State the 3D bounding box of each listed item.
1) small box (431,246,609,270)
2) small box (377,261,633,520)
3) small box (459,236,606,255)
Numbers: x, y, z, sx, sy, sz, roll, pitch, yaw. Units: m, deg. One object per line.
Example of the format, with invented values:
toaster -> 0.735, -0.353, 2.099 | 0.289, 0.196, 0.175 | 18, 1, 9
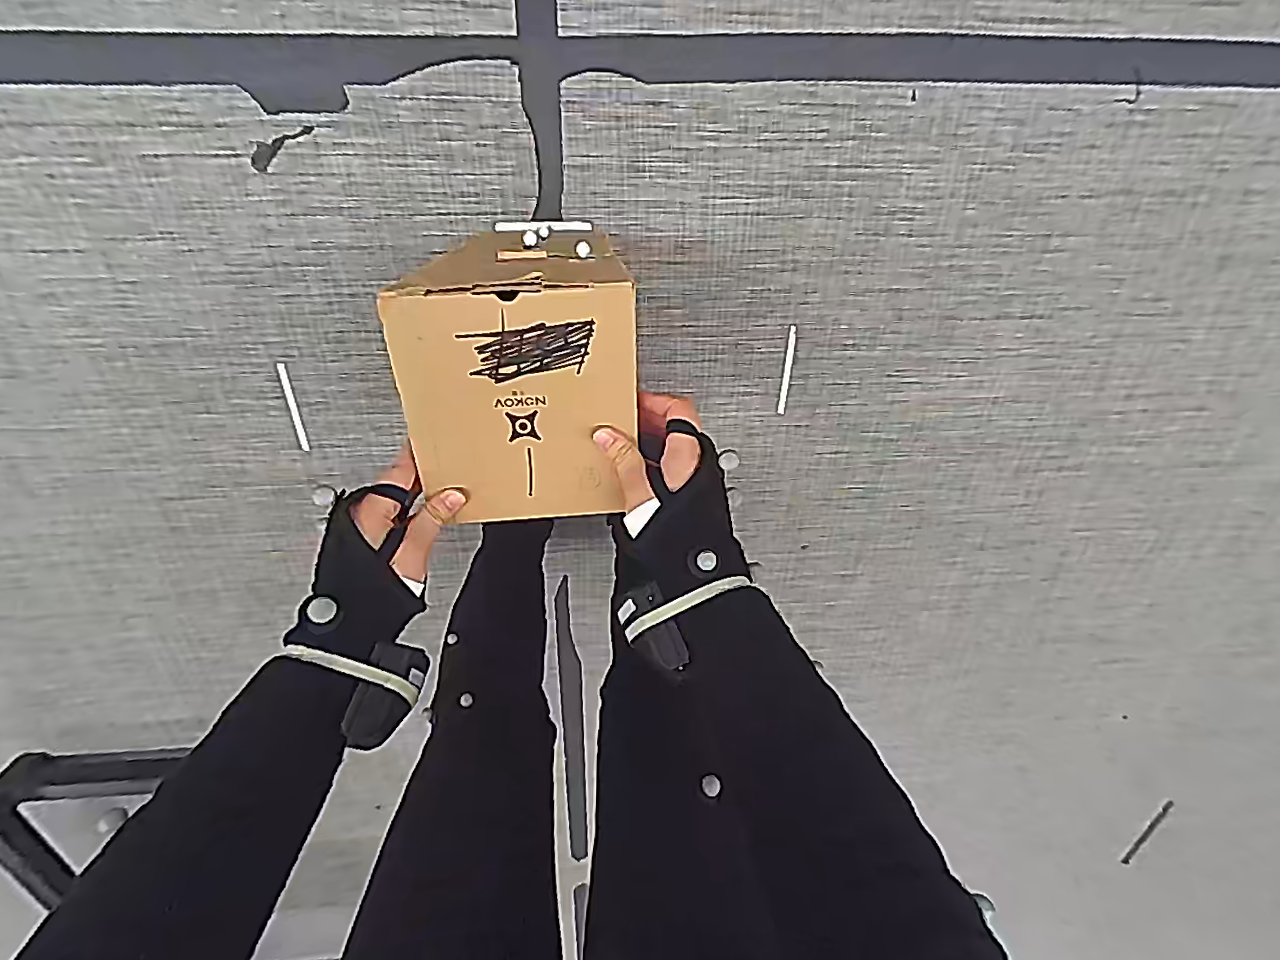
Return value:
small box -> -0.118, -0.164, 0.606 | 0.168, 0.176, 0.179 | -4, 118, -4
small box -> -0.097, -0.088, 0.463 | 0.168, 0.176, 0.179 | -4, 119, -4
small box -> -0.135, -0.242, 0.748 | 0.179, 0.176, 0.168 | -2, 118, -4
